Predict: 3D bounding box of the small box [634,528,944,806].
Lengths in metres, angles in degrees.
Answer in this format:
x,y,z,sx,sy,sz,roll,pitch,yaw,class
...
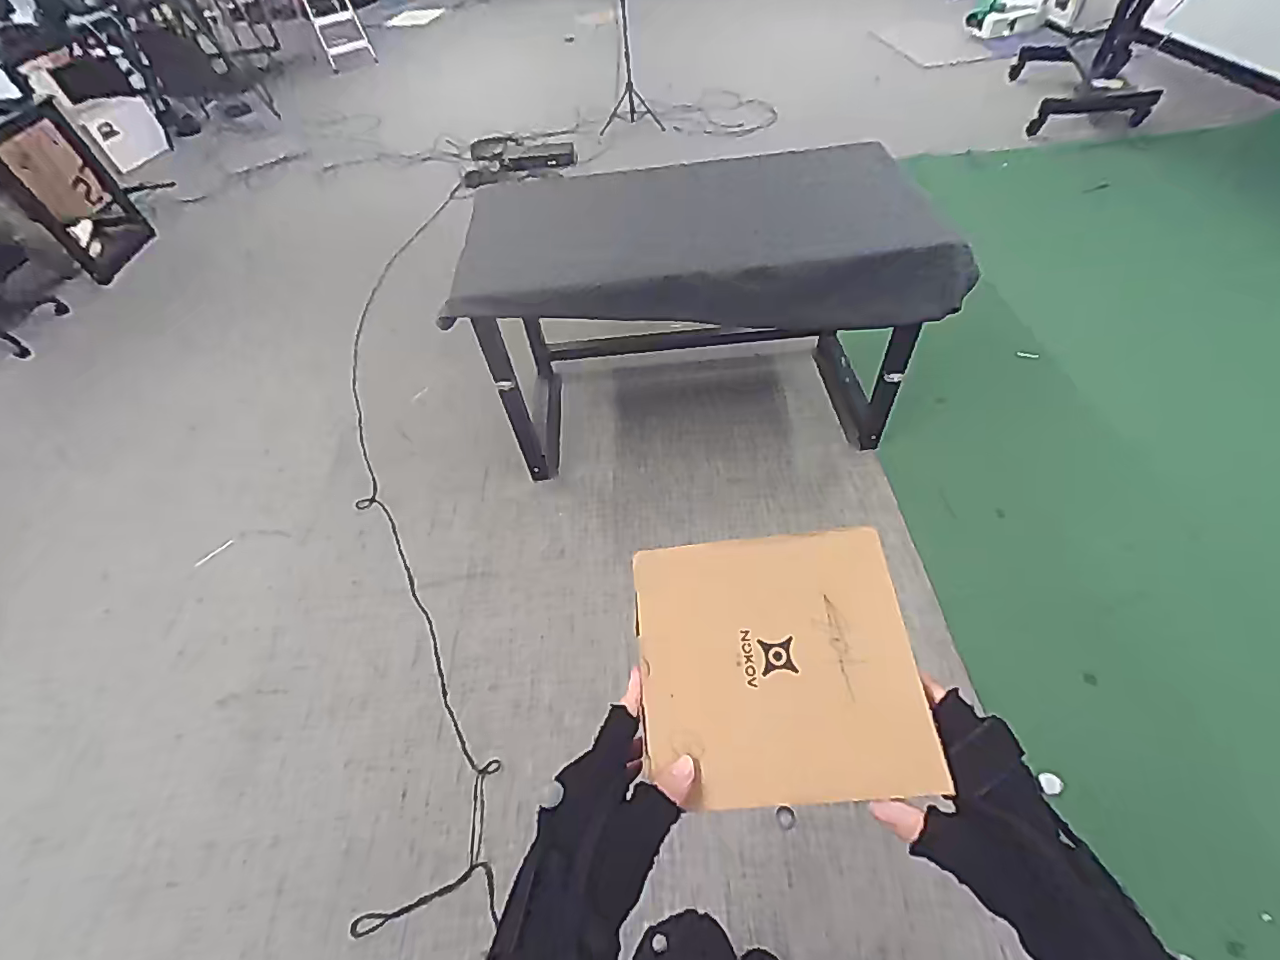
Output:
x,y,z,sx,sy,sz,roll,pitch,yaw,class
0.096,0.151,0.427,0.179,0.176,0.168,-7,64,3,small box
